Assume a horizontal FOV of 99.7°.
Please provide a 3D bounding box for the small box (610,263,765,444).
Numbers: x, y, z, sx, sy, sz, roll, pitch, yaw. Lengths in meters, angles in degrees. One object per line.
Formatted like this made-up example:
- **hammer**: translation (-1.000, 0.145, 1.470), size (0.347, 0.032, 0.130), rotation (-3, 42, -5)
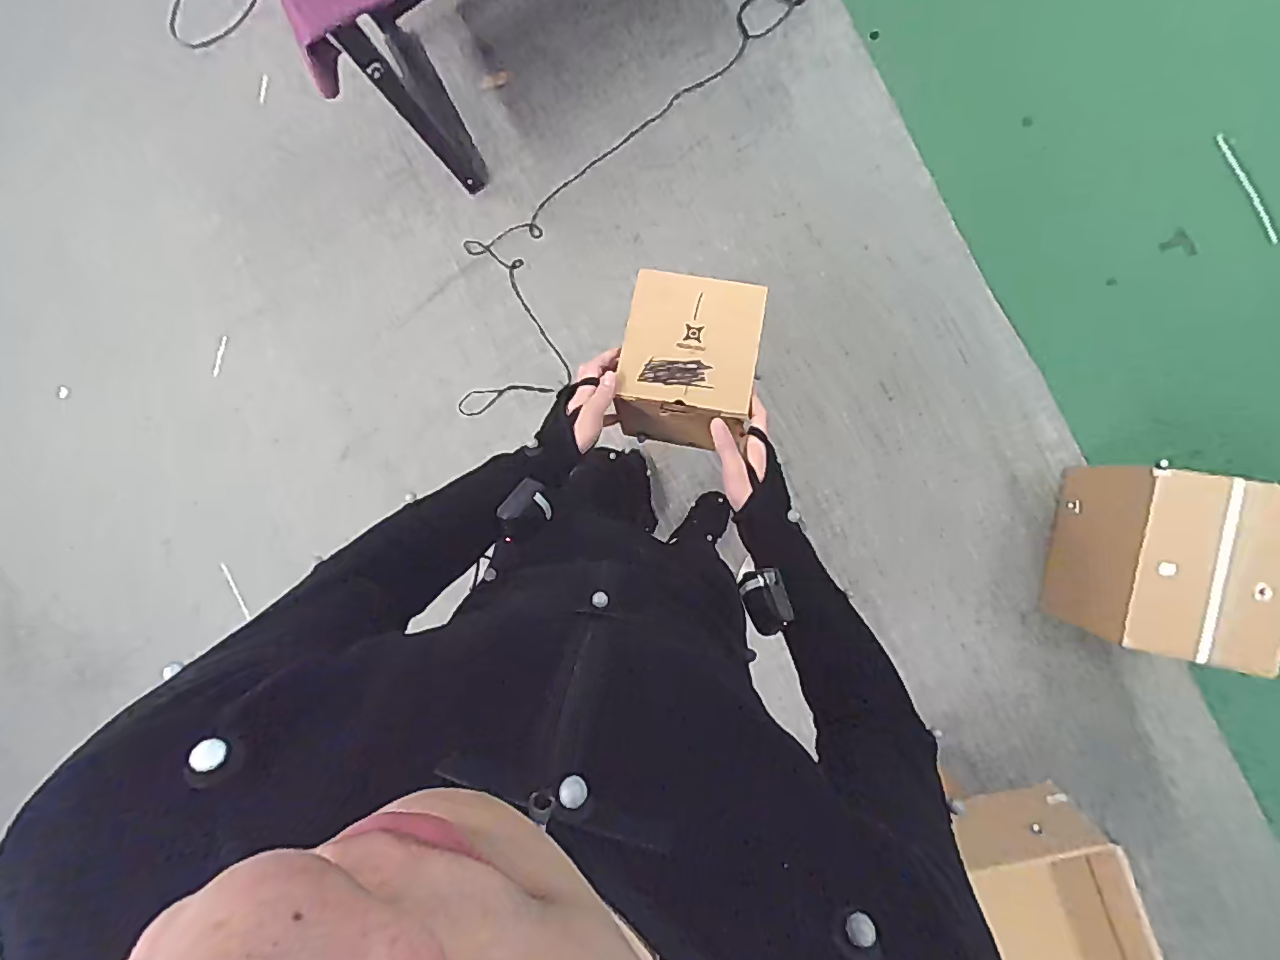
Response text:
- **small box**: translation (0.064, -0.160, 0.735), size (0.168, 0.176, 0.179), rotation (10, 79, 5)
